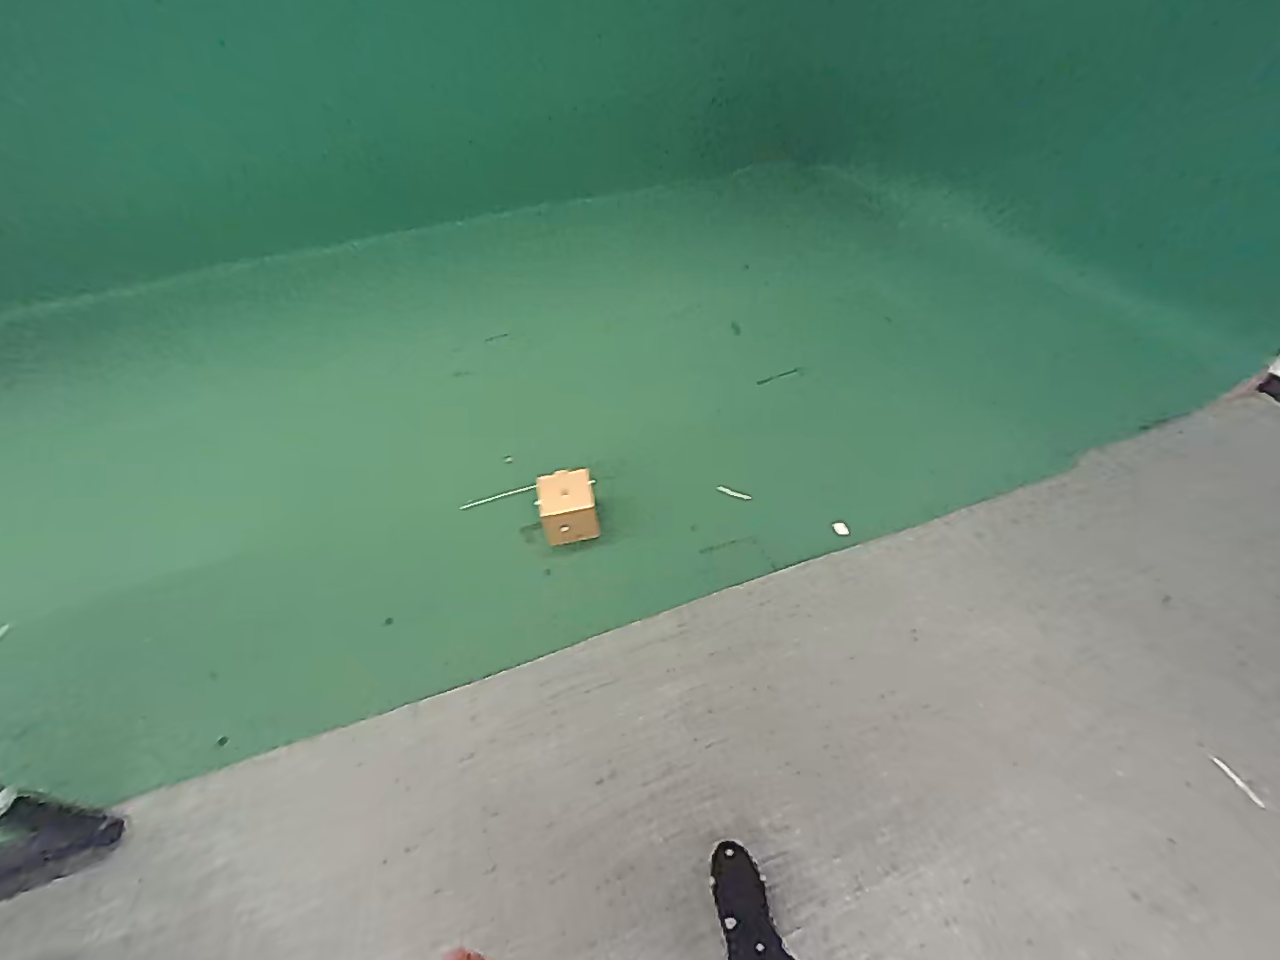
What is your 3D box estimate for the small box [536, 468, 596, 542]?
[{"bbox_3d":[-0.245,0.090,1.801,0.168,0.176,0.179,-11,48,-6],"label":"small box"}]
